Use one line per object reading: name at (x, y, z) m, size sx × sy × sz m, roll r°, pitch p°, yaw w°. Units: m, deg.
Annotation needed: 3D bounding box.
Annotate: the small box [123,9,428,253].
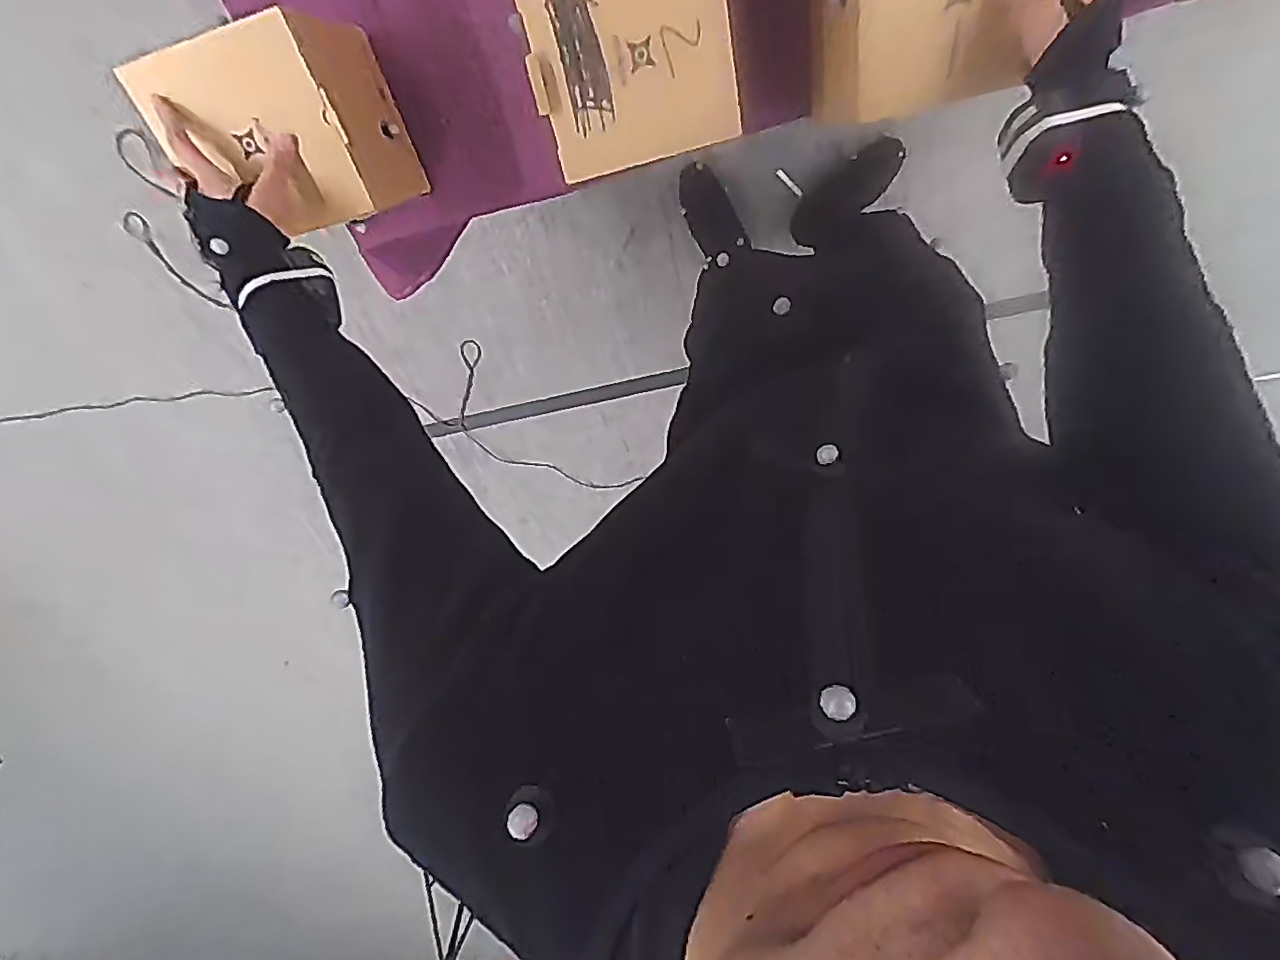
small box at (-0.364, -0.364, 0.583) m, size 0.179 × 0.176 × 0.168 m, roll -12°, pitch 123°, yaw 8°
